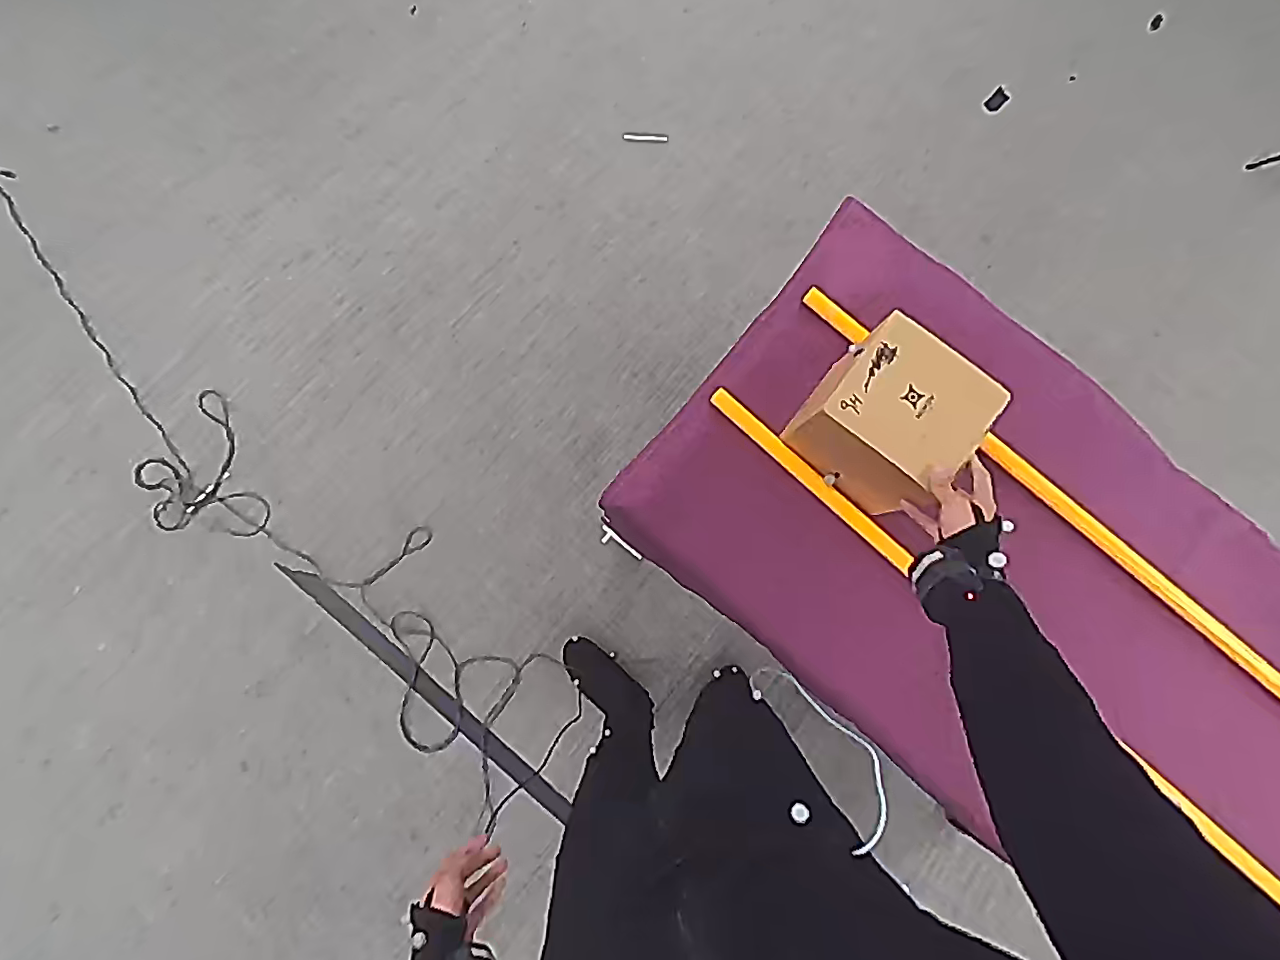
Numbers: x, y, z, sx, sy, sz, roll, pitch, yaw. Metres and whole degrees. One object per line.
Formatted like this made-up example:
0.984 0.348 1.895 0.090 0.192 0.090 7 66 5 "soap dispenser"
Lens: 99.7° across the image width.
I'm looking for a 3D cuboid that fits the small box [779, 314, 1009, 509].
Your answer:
0.317 -0.075 0.711 0.179 0.176 0.168 39 80 2 "small box"
